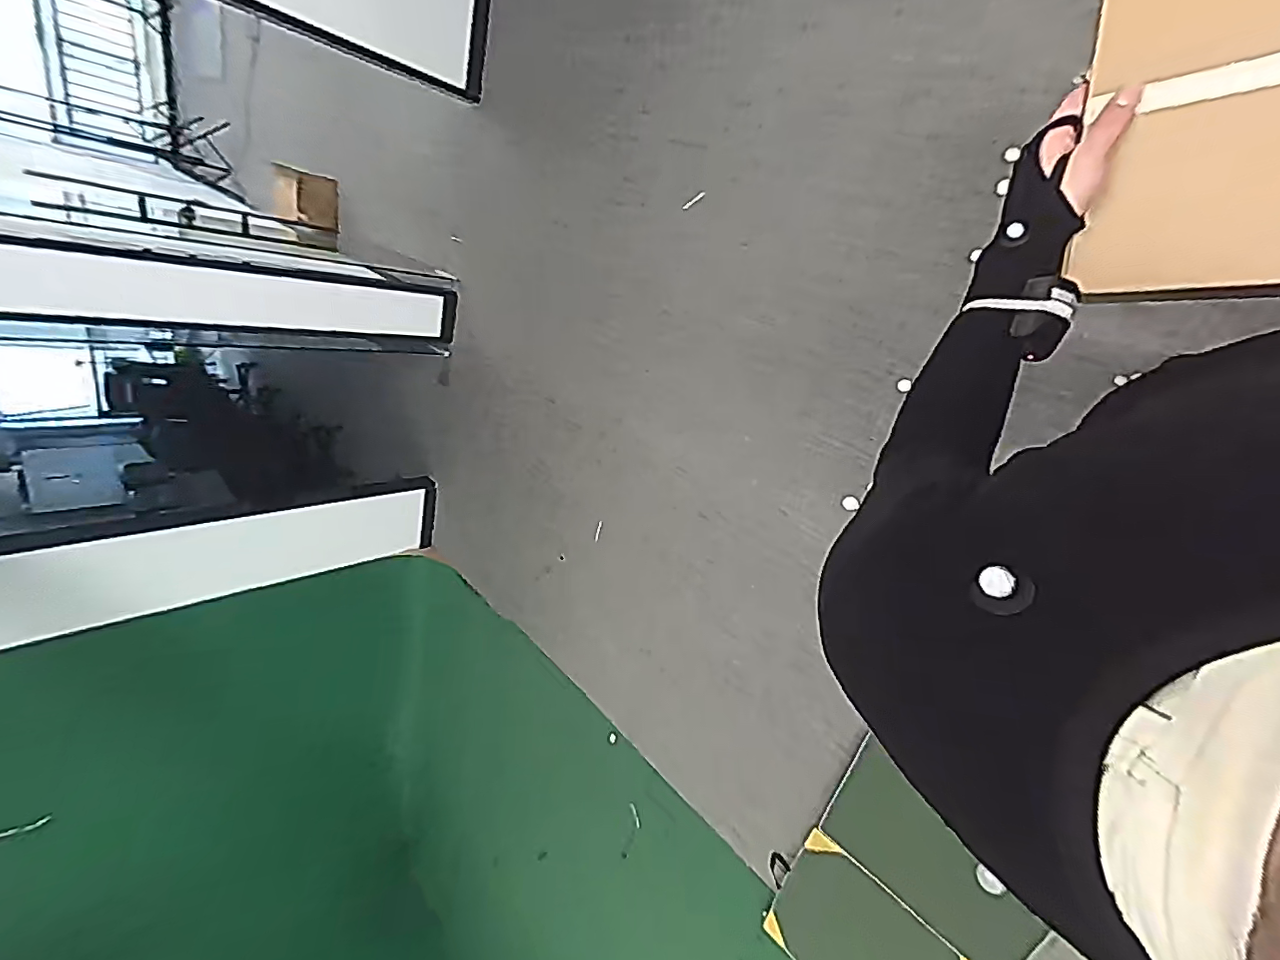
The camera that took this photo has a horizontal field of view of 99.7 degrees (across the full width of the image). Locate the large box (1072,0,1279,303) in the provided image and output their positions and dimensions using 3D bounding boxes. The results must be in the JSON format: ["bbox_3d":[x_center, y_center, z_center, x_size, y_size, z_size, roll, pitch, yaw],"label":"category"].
[{"bbox_3d":[0.657,-0.339,0.475,0.408,0.320,0.320,10,109,39],"label":"large box"}]
